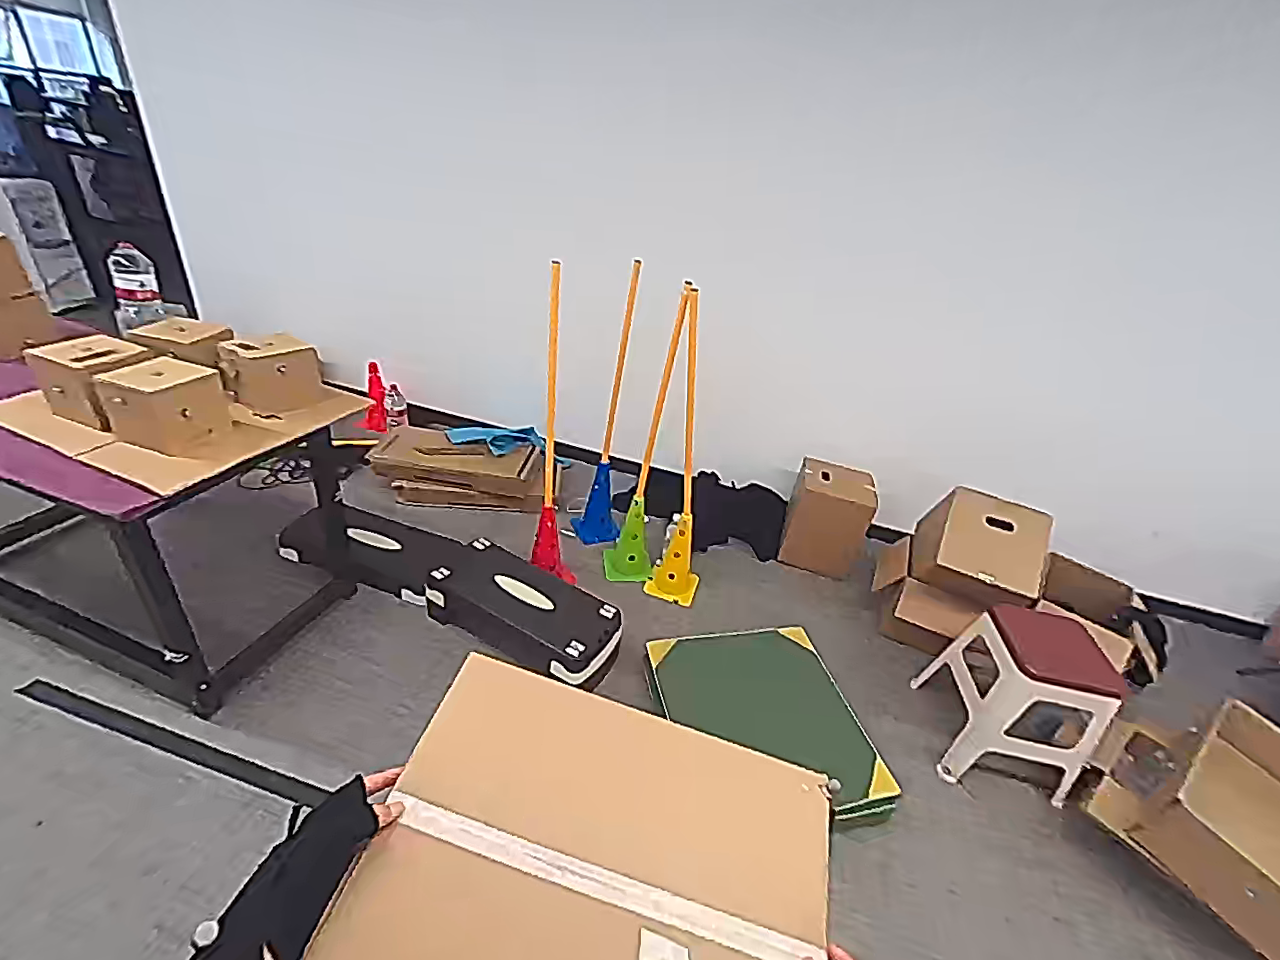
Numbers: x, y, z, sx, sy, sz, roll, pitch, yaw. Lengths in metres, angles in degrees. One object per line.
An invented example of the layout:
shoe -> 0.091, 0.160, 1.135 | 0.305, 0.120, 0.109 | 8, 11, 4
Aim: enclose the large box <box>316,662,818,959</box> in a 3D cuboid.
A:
large box -> -0.061, 0.463, 0.590 | 0.408, 0.320, 0.320 | 18, 44, 5
